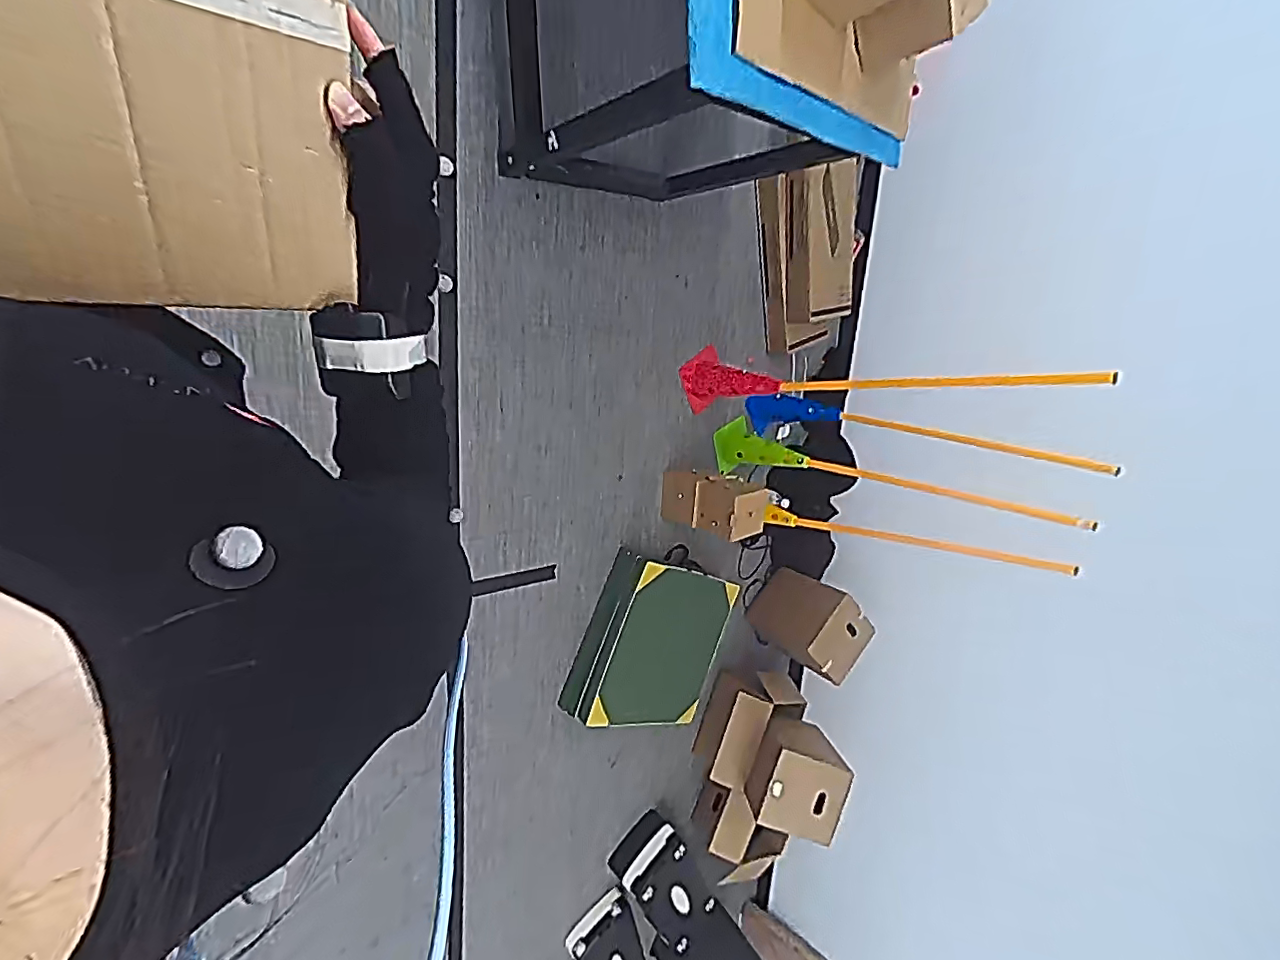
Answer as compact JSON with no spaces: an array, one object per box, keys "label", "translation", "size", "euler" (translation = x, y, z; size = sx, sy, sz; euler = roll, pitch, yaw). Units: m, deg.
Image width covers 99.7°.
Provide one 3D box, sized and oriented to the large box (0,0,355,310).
[{"label":"large box","translation":[-0.417,-0.294,0.287],"size":[0.408,0.320,0.320],"euler":[-12,130,-37]}]
